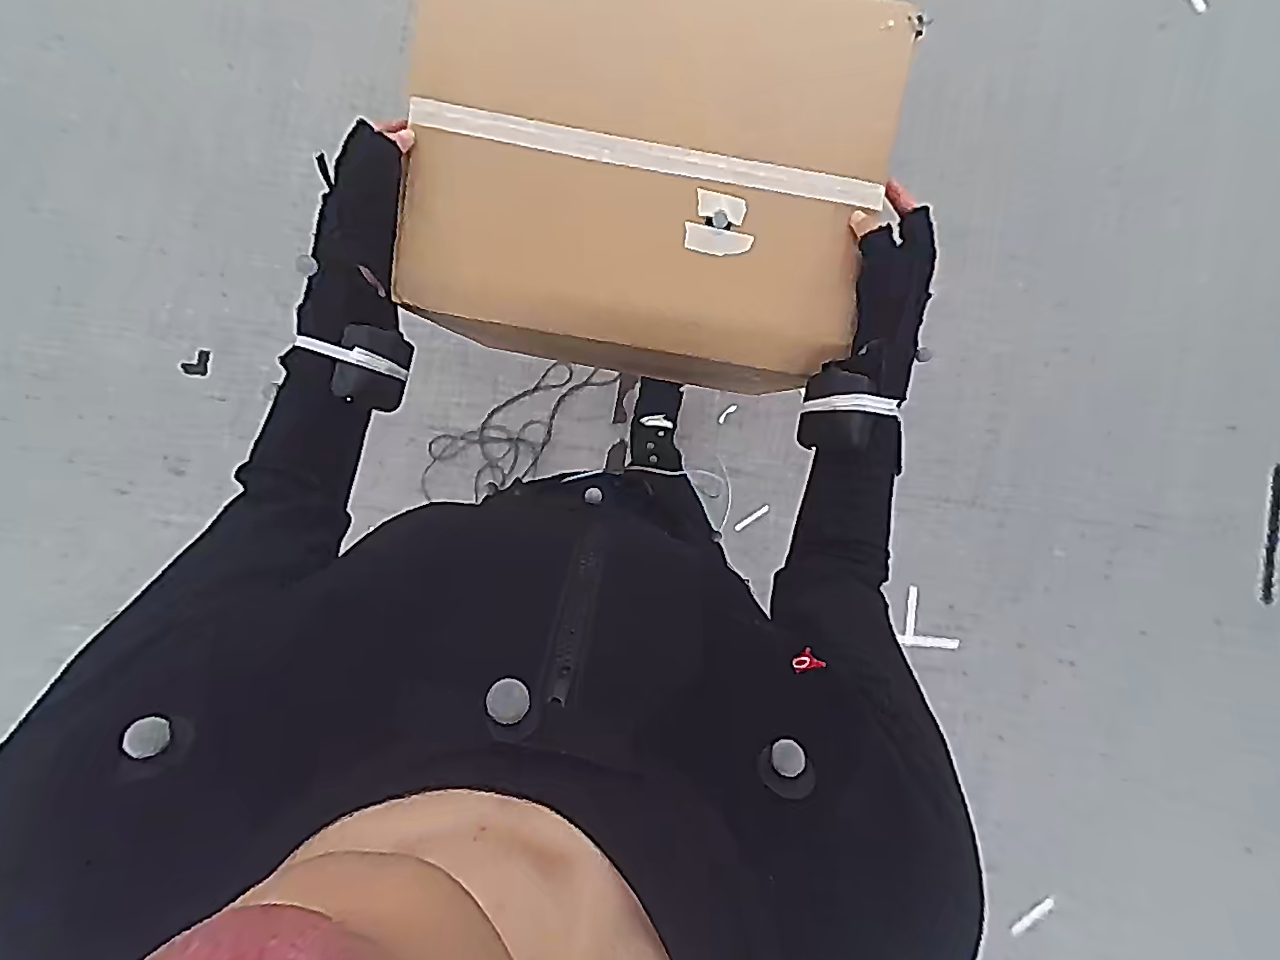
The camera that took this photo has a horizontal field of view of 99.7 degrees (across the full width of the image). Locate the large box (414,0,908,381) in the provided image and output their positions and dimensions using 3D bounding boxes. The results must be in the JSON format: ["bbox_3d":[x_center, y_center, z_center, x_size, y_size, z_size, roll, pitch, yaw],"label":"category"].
[{"bbox_3d":[0.008,-0.304,0.622,0.408,0.320,0.320,9,98,-3],"label":"large box"}]
